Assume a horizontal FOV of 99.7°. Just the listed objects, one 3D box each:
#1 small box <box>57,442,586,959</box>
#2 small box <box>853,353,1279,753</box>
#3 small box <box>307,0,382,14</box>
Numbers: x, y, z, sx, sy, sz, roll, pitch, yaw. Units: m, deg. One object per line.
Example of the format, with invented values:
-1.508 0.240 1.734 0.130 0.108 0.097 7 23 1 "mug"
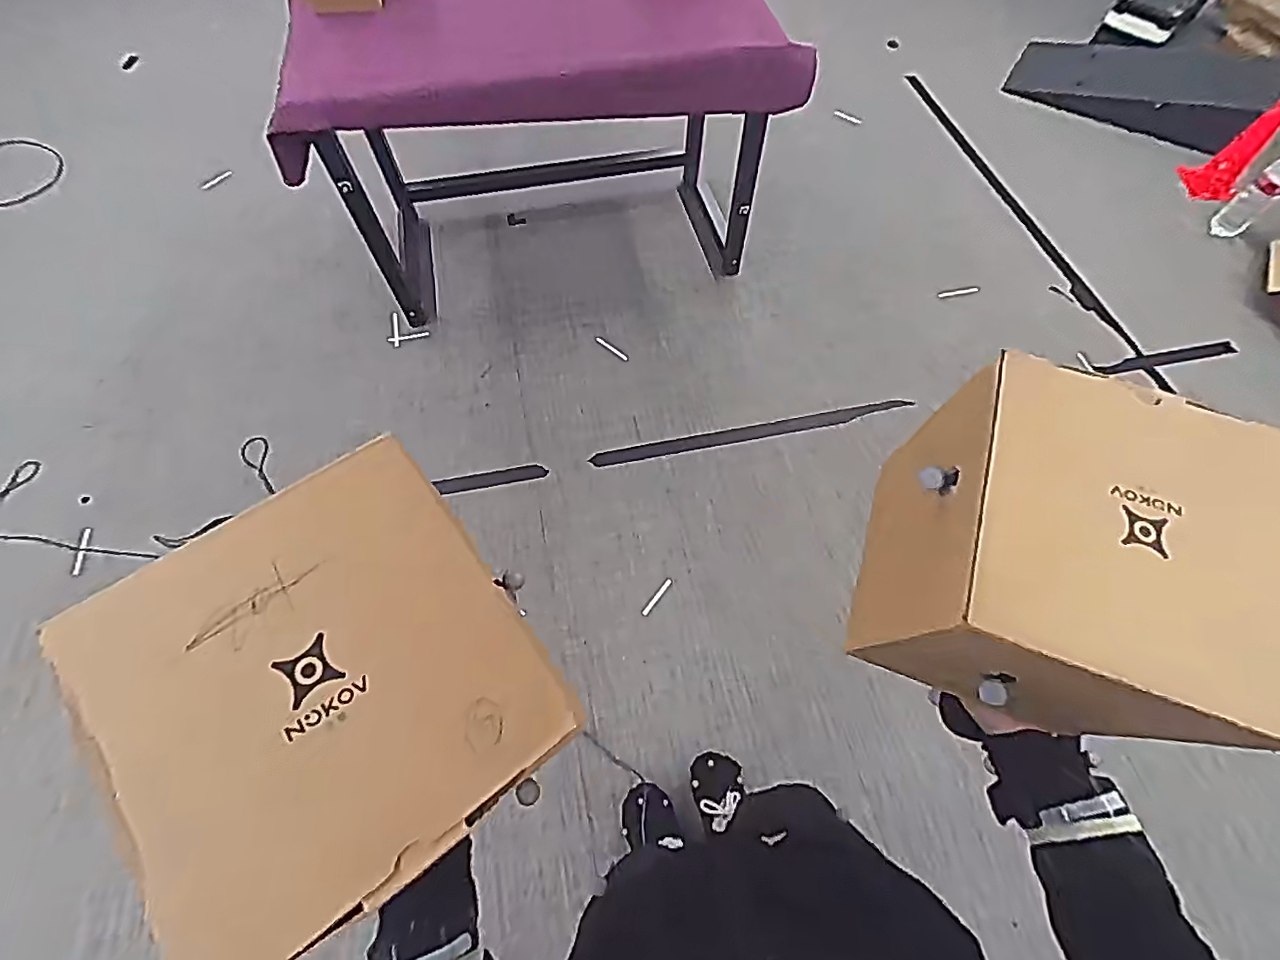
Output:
-0.143 0.116 0.309 0.168 0.176 0.179 -34 74 -17 "small box"
0.260 0.055 0.355 0.168 0.176 0.179 20 68 7 "small box"
-0.769 -1.311 1.357 0.179 0.176 0.168 -8 66 -5 "small box"
